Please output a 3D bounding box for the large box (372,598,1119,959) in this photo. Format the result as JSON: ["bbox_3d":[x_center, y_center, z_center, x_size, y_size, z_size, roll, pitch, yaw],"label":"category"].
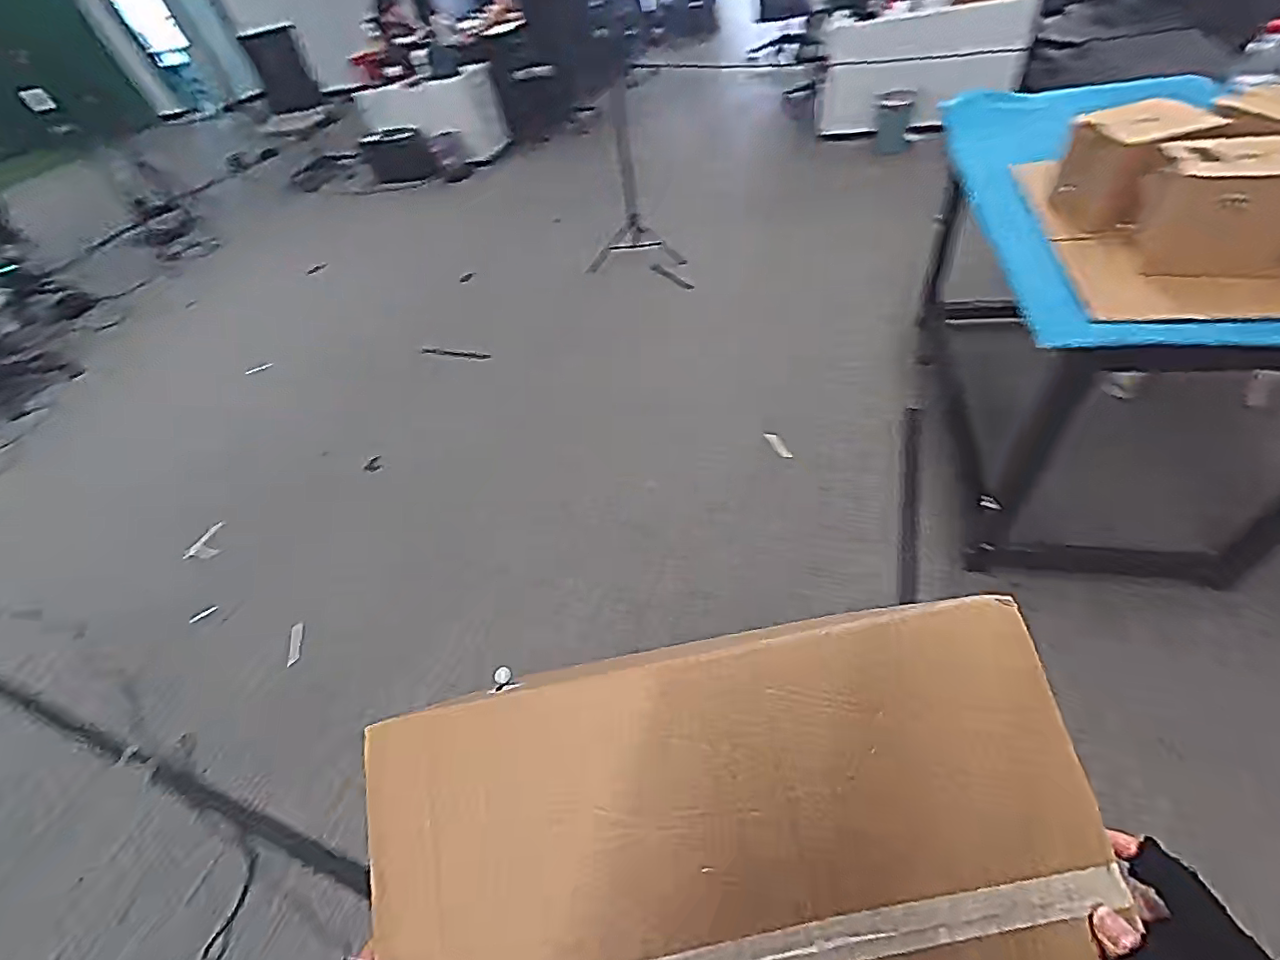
[{"bbox_3d":[0.062,0.305,0.444,0.408,0.320,0.320,-13,75,-1],"label":"large box"}]
